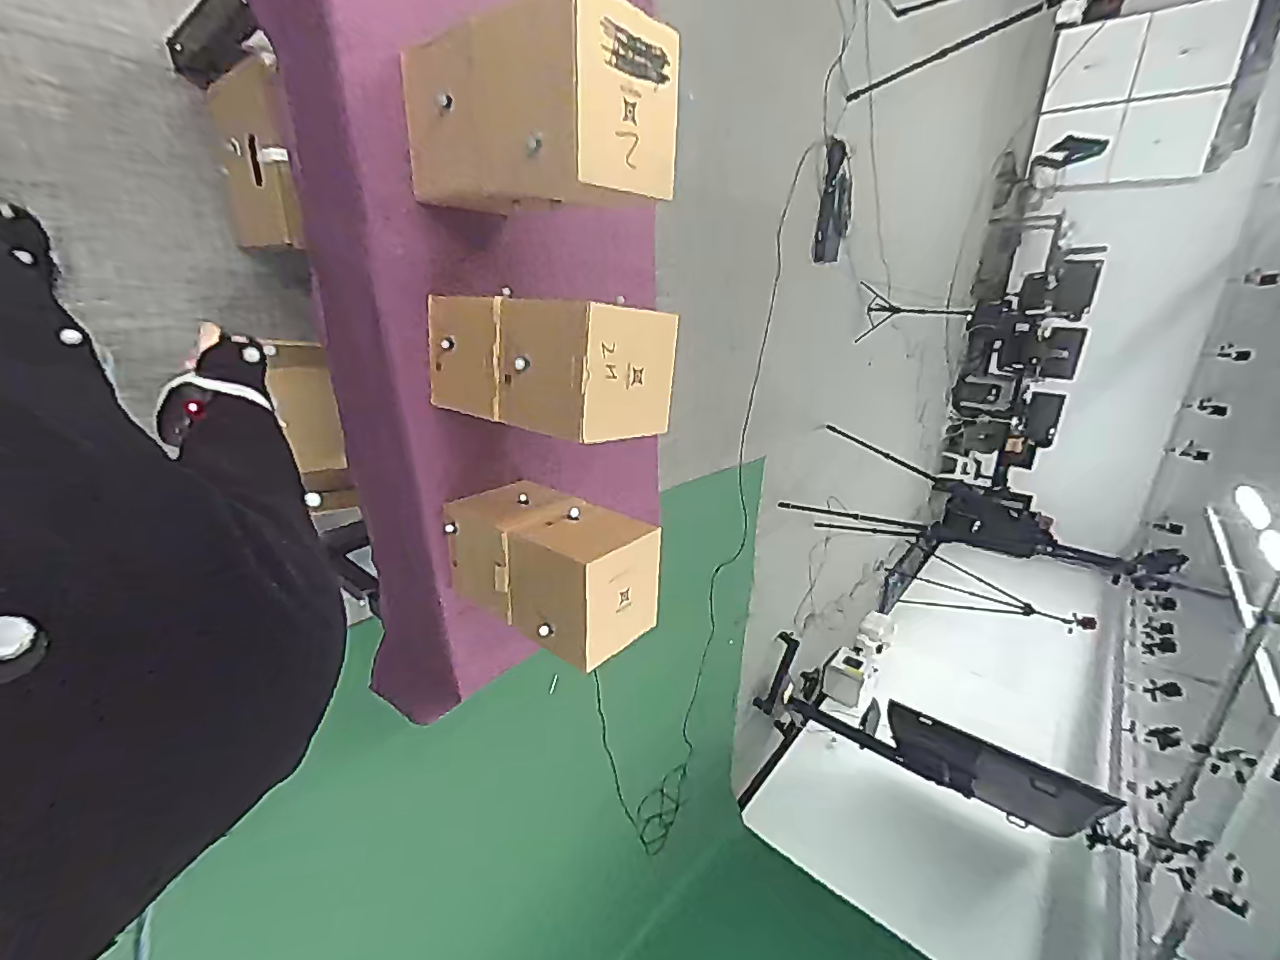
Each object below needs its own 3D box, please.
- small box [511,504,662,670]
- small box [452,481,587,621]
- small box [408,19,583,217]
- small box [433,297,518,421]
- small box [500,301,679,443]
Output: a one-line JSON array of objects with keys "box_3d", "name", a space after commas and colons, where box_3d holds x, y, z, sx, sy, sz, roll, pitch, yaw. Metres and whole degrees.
[{"box_3d": [-0.085, 0.155, 0.847, 0.168, 0.176, 0.179, -19, 118, -48], "name": "small box"}, {"box_3d": [-0.211, 0.113, 0.943, 0.179, 0.176, 0.168, -21, 119, -47], "name": "small box"}, {"box_3d": [-0.196, -0.470, 0.737, 0.168, 0.176, 0.179, -20, 118, -45], "name": "small box"}, {"box_3d": [-0.200, -0.191, 0.843, 0.179, 0.176, 0.168, -14, 114, -47], "name": "small box"}, {"box_3d": [-0.070, -0.153, 0.748, 0.179, 0.176, 0.168, -12, 112, -48], "name": "small box"}]
